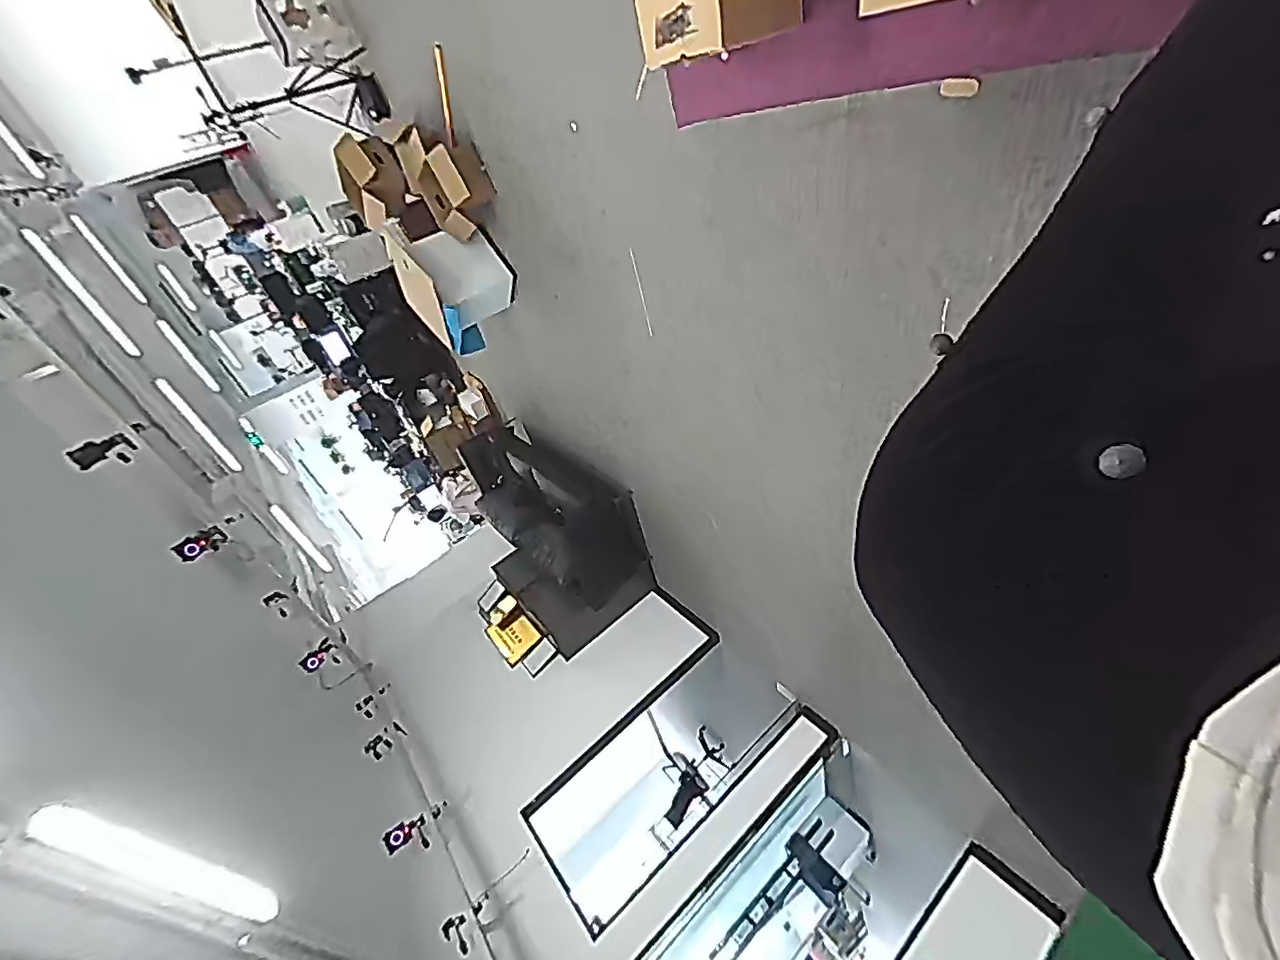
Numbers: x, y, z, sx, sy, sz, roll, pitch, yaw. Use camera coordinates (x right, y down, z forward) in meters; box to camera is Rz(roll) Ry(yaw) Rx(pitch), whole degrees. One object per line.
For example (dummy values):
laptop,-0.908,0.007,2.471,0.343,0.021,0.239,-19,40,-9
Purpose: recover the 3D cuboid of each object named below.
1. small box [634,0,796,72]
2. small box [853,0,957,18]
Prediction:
small box,0.103,-0.706,0.756,0.168,0.176,0.179,31,146,45
small box,0.326,-0.569,0.504,0.168,0.176,0.179,34,149,43
